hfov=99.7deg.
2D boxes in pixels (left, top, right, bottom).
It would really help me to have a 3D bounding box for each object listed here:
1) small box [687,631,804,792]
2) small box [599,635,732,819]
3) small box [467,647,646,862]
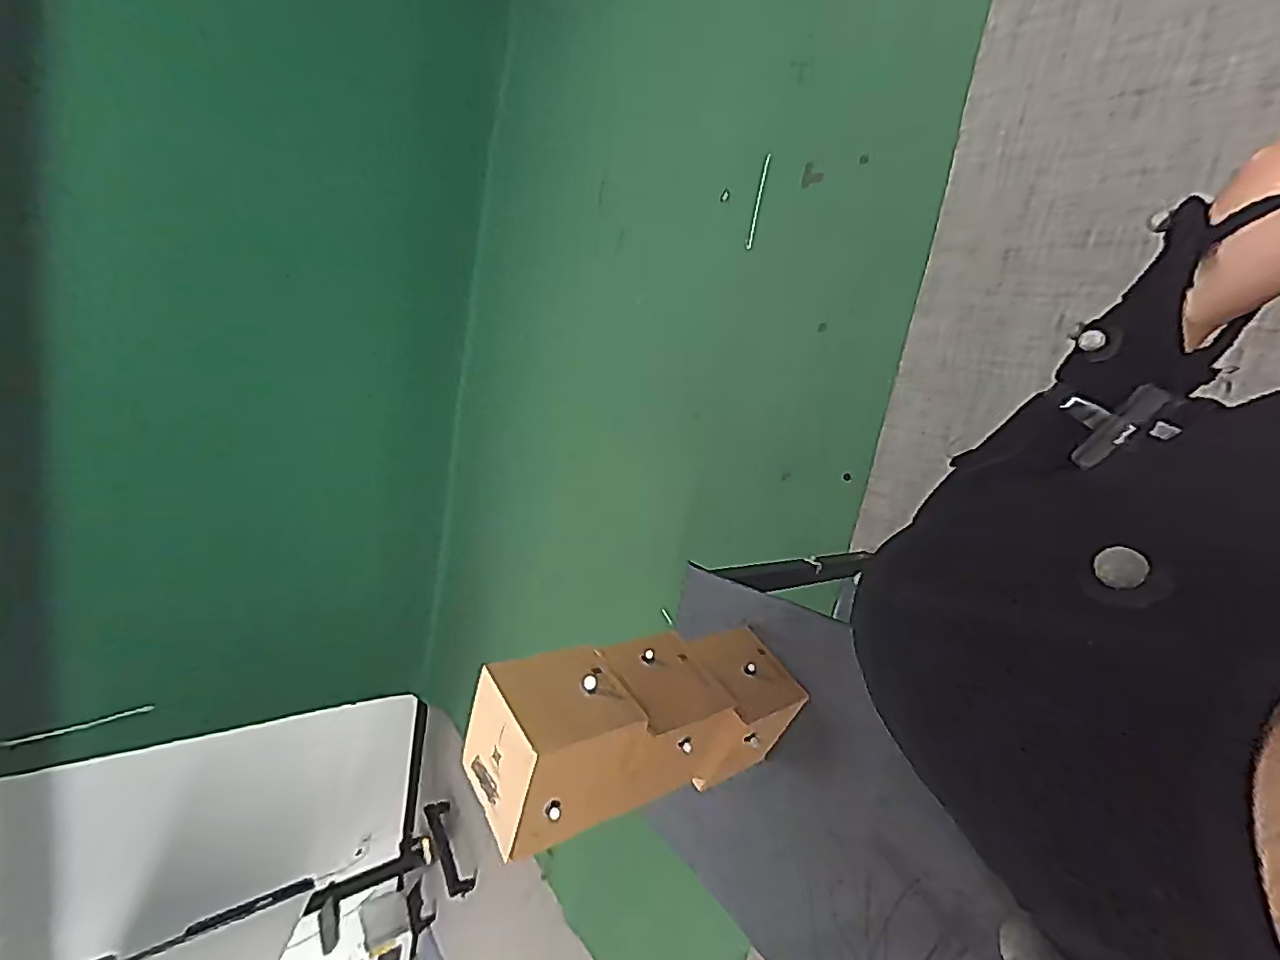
[{"bbox_3d":[0.150,0.383,0.925,0.168,0.176,0.179,47,125,40],"label":"small box"},{"bbox_3d":[0.016,0.365,0.834,0.168,0.176,0.179,42,122,44],"label":"small box"},{"bbox_3d":[-0.114,0.355,0.733,0.168,0.176,0.179,34,114,46],"label":"small box"}]
